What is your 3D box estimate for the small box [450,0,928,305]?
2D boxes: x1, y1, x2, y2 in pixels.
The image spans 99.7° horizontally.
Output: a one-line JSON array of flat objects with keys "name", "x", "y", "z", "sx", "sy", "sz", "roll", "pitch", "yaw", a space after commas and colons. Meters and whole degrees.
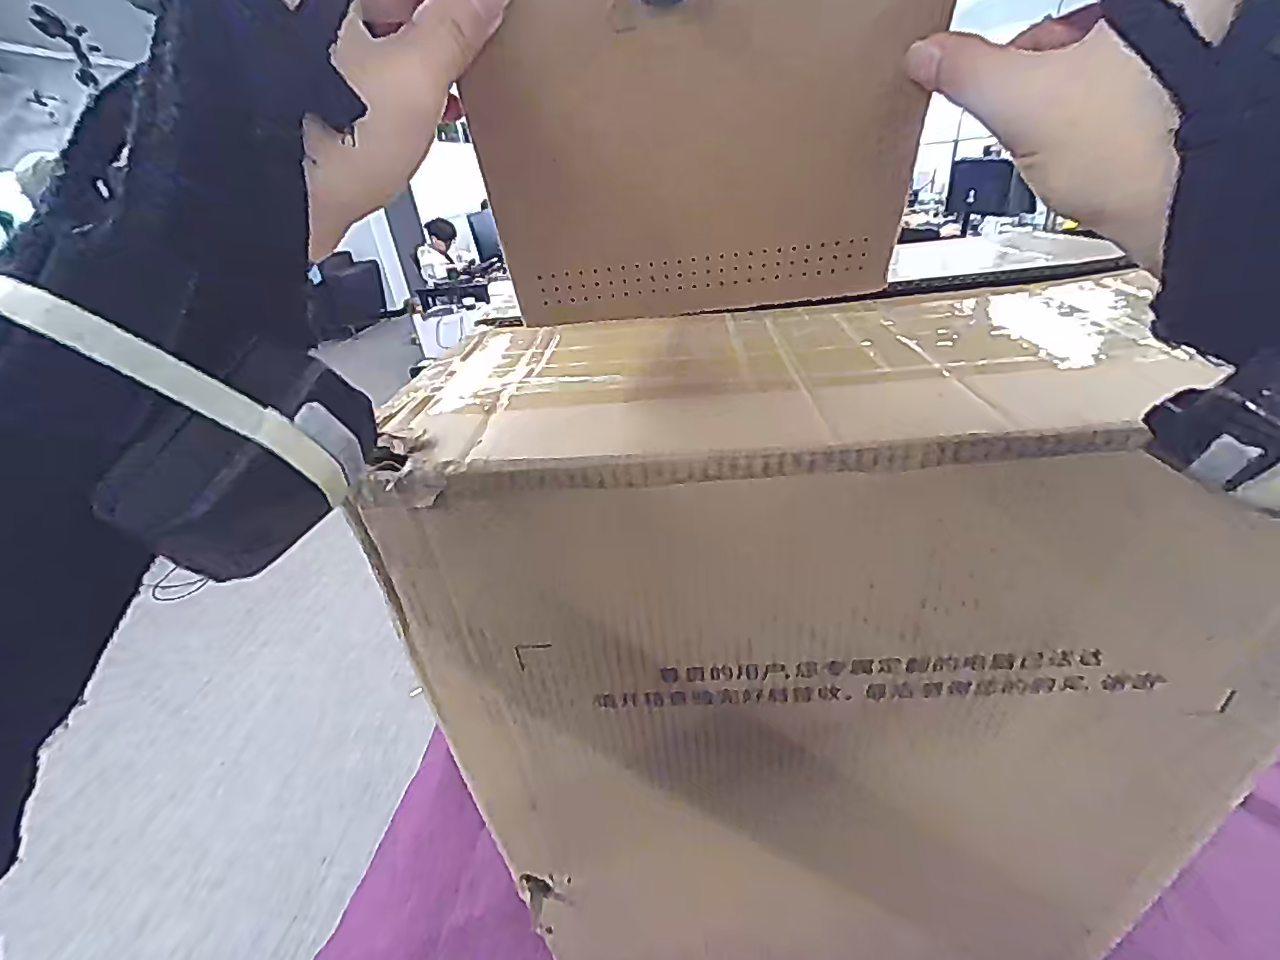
[{"name": "small box", "x": 0.018, "y": -0.198, "z": 0.255, "sx": 0.179, "sy": 0.176, "sz": 0.168, "roll": -5, "pitch": 47, "yaw": 2}]
